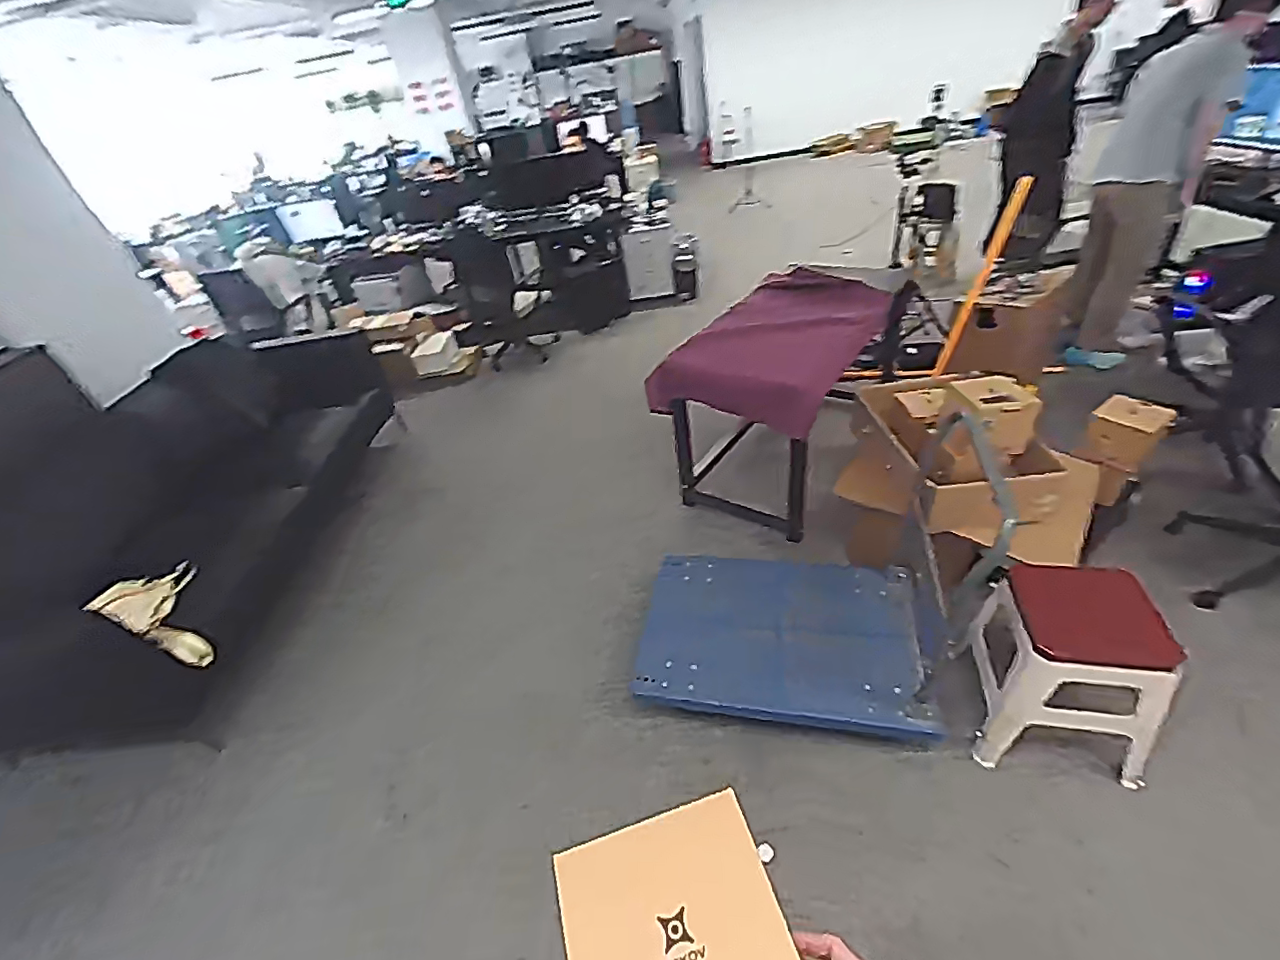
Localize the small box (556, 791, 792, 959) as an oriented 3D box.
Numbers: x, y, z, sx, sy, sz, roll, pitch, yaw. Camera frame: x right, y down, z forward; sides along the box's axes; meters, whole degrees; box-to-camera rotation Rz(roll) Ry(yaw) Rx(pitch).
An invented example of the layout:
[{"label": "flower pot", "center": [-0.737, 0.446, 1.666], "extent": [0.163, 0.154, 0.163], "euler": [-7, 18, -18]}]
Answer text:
[{"label": "small box", "center": [0.034, 0.412, 0.466], "extent": [0.168, 0.176, 0.179], "euler": [-16, 42, -7]}]
